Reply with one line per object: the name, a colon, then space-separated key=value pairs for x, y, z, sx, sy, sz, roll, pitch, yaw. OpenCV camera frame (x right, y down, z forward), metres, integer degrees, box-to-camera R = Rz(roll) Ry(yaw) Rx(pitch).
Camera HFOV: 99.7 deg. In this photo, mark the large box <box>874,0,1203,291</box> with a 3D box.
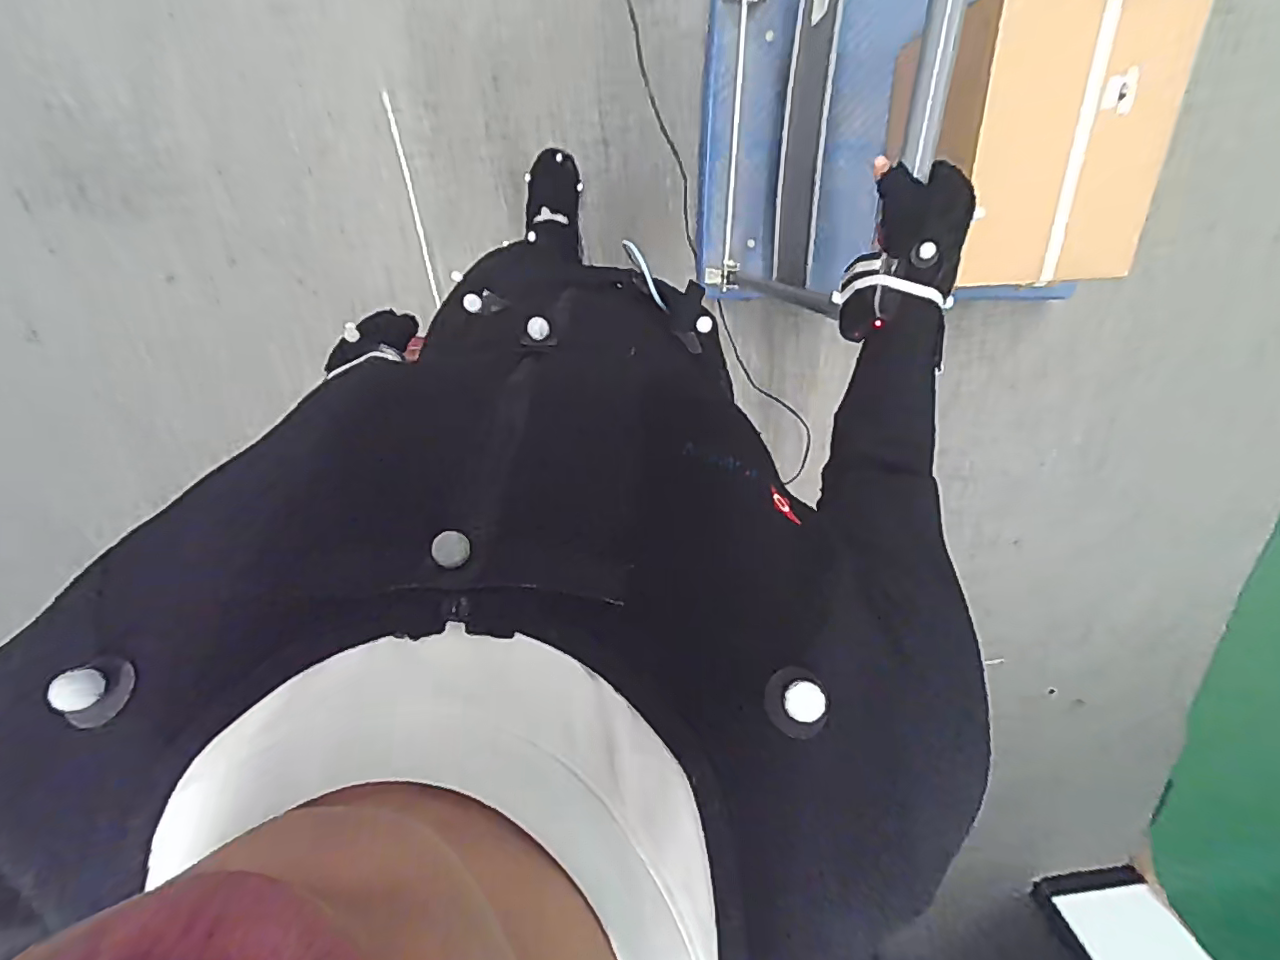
large box: x=0.654 y=-0.572 z=0.973 sx=0.320 sy=0.320 sz=0.408 roll=-5 pitch=114 yaw=-3
